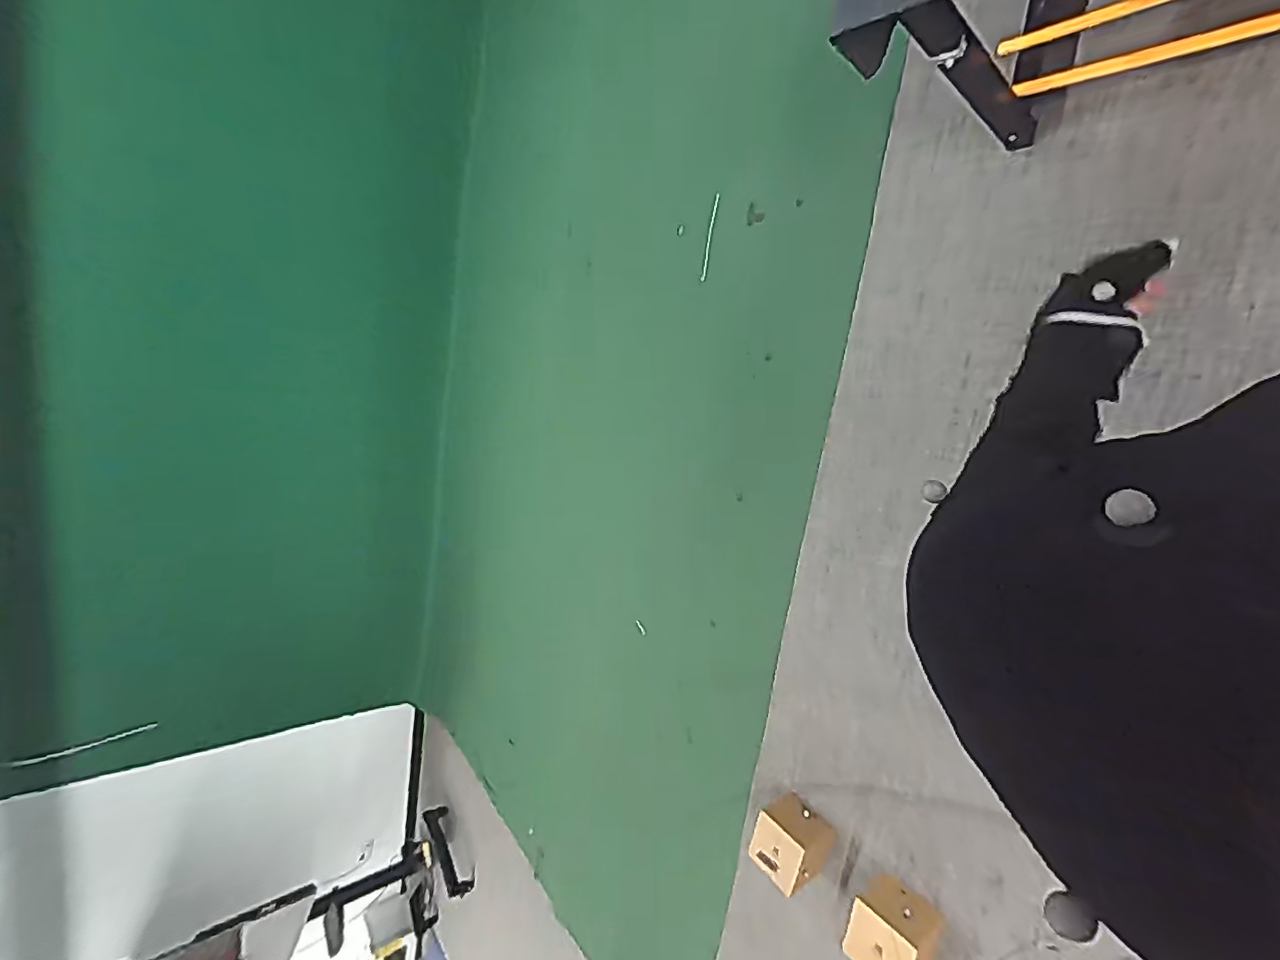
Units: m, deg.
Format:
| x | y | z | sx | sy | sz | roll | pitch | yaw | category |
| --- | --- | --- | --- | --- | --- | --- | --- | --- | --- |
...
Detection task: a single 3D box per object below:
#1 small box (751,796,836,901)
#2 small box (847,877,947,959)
| x | y | z | sx | sy | sz | roll | pitch | yaw | category |
| --- | --- | --- | --- | --- | --- | --- | --- | --- | --- |
| 0.473 | 1.117 | 1.655 | 0.168 | 0.176 | 0.179 | 25 | 107 | 48 | small box |
| 0.675 | 1.198 | 1.411 | 0.168 | 0.176 | 0.179 | 20 | 105 | 49 | small box |
